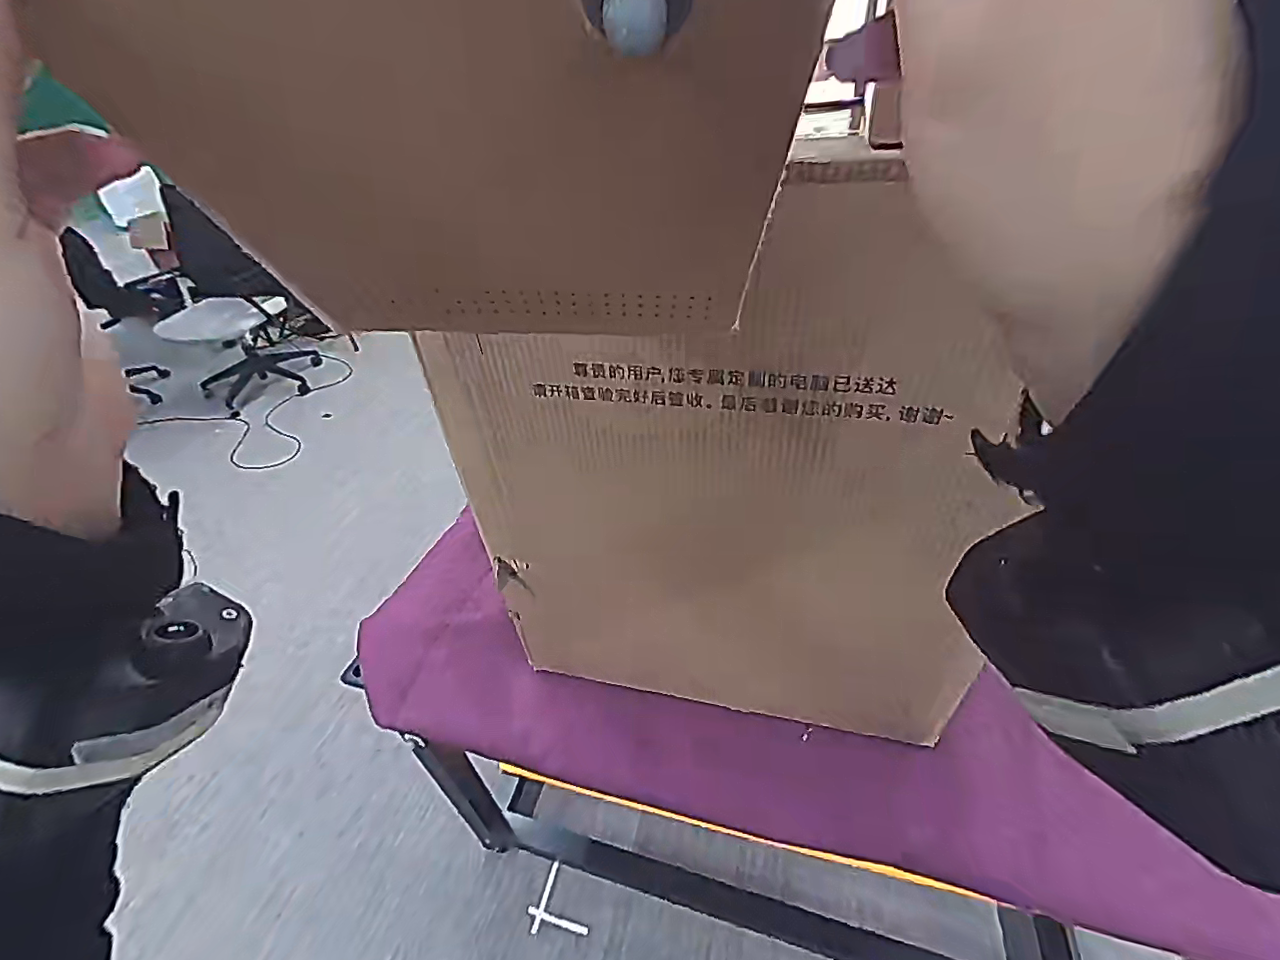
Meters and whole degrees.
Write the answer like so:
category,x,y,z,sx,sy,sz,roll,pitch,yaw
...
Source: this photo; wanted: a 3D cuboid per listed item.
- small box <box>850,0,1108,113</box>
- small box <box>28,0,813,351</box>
category,x,y,z,sx,sy,sz,roll,pitch,yaw
small box,0.271,-0.412,0.444,0.168,0.176,0.179,7,41,16
small box,-0.045,-0.155,0.181,0.179,0.176,0.168,1,76,0
